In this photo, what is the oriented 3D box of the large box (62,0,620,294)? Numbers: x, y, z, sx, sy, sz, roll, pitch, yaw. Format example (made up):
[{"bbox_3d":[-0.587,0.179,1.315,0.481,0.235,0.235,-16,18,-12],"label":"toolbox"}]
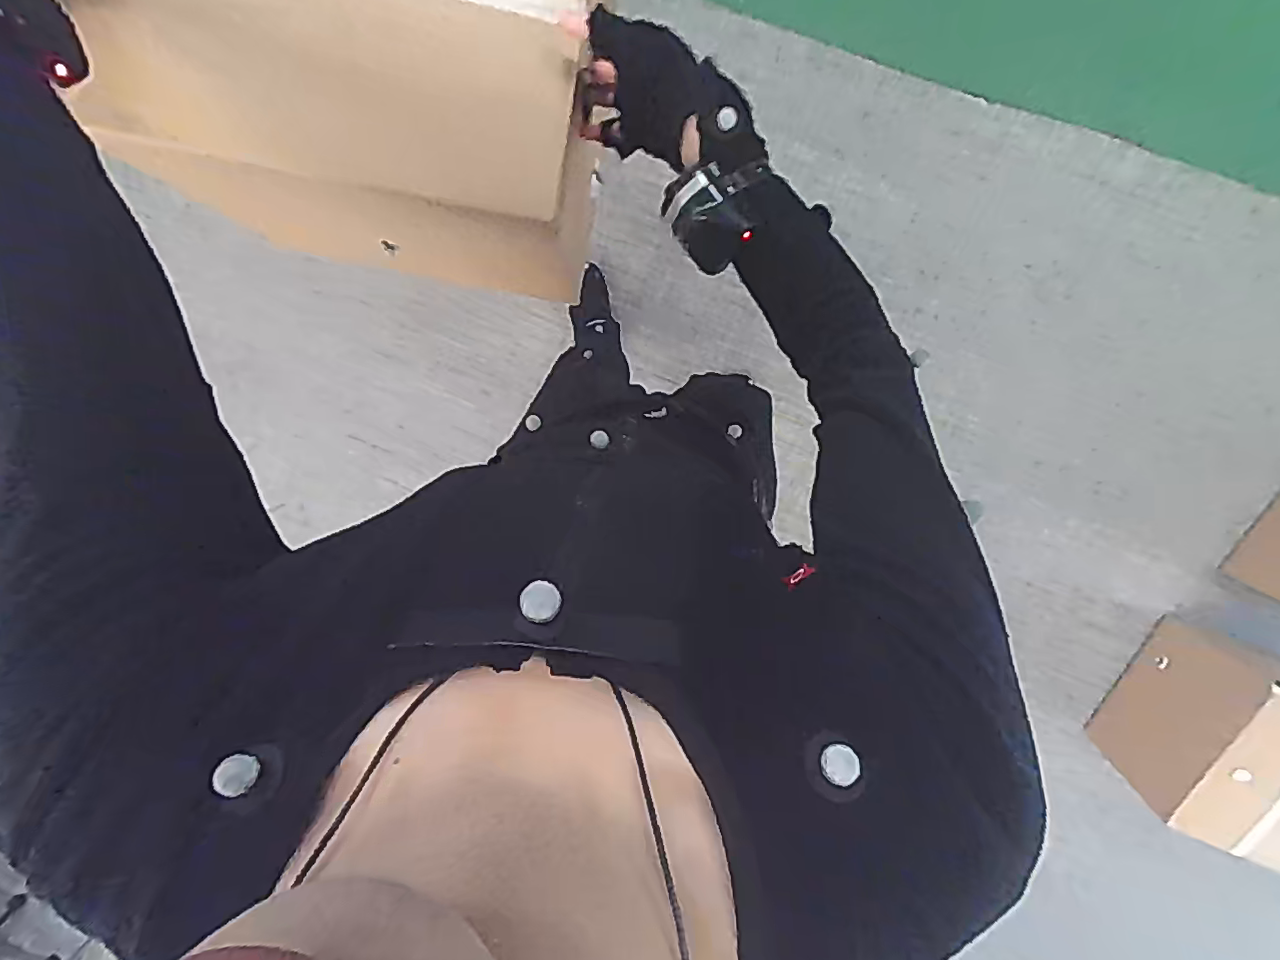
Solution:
[{"bbox_3d":[-0.238,-0.414,0.569,0.408,0.320,0.320,10,95,-3],"label":"large box"}]
